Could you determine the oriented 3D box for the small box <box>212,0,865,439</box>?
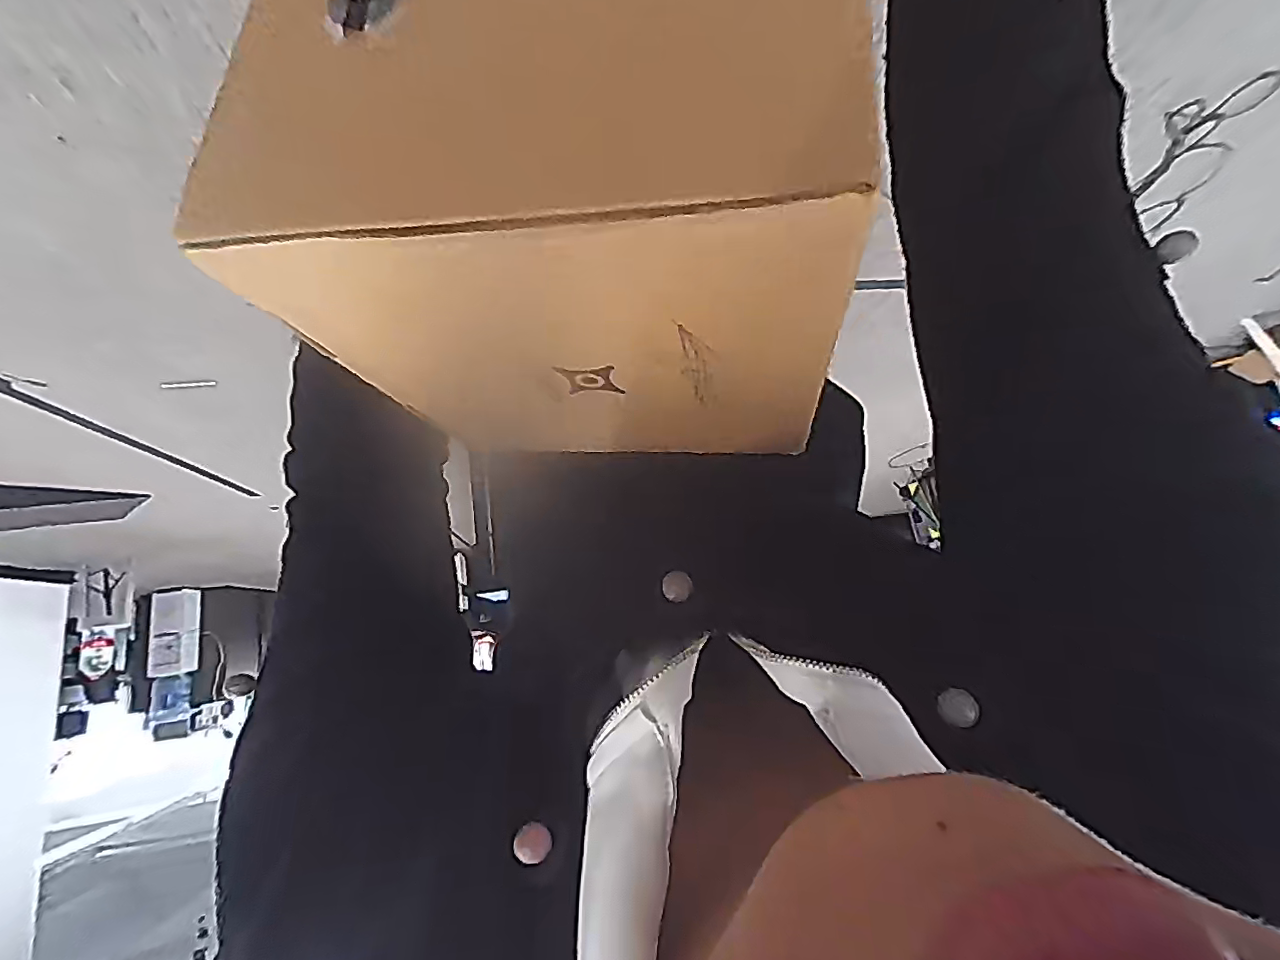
[{"bbox_3d":[-0.017,-0.125,0.229,0.179,0.176,0.168,-1,165,12],"label":"small box"}]
